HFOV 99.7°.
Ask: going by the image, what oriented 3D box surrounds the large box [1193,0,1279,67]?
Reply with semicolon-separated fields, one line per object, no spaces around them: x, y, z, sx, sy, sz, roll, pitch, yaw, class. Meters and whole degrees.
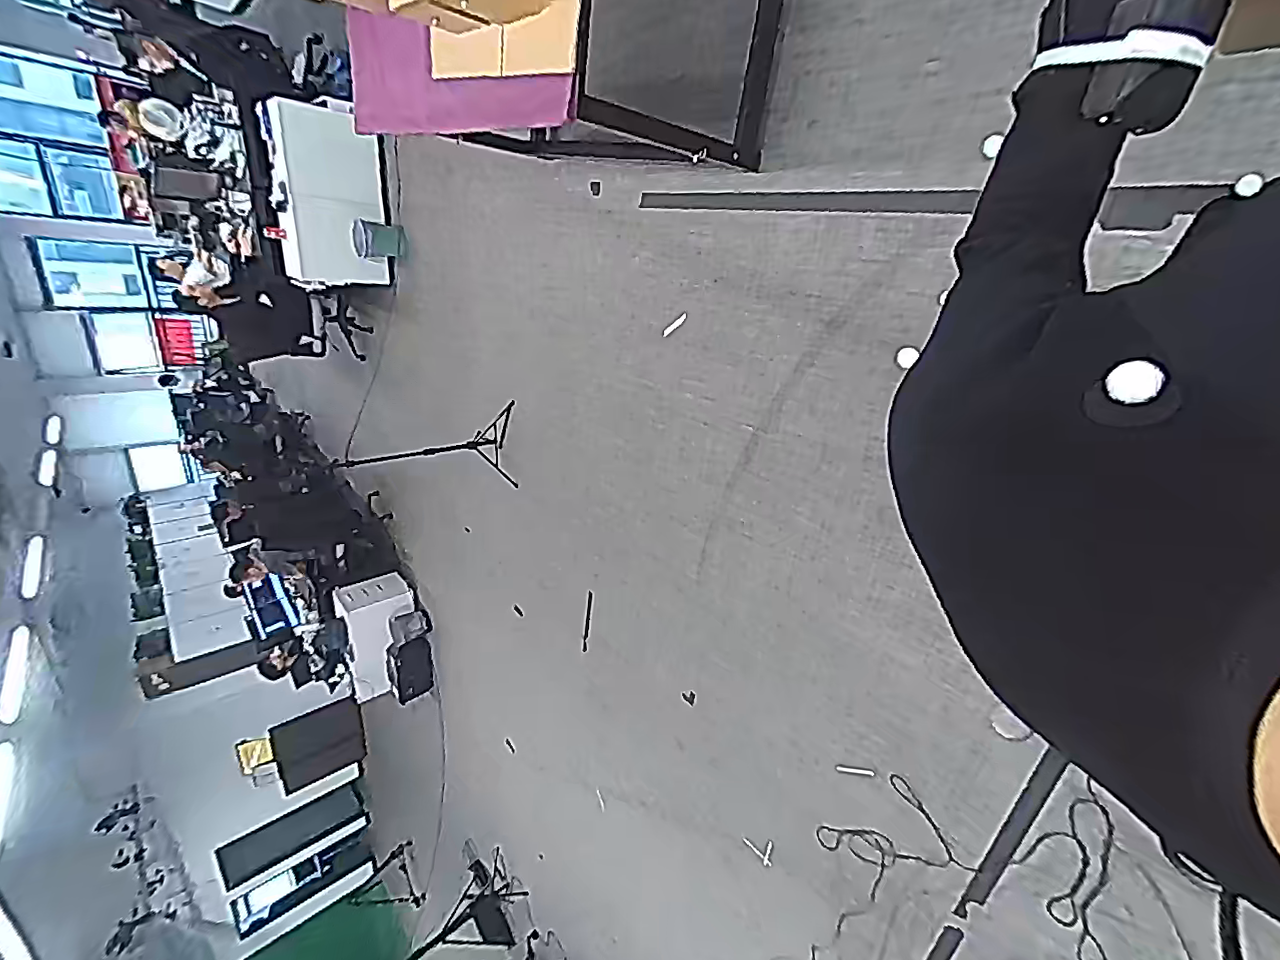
0.568;-0.428;0.231;0.408;0.320;0.320;22;125;41;large box
